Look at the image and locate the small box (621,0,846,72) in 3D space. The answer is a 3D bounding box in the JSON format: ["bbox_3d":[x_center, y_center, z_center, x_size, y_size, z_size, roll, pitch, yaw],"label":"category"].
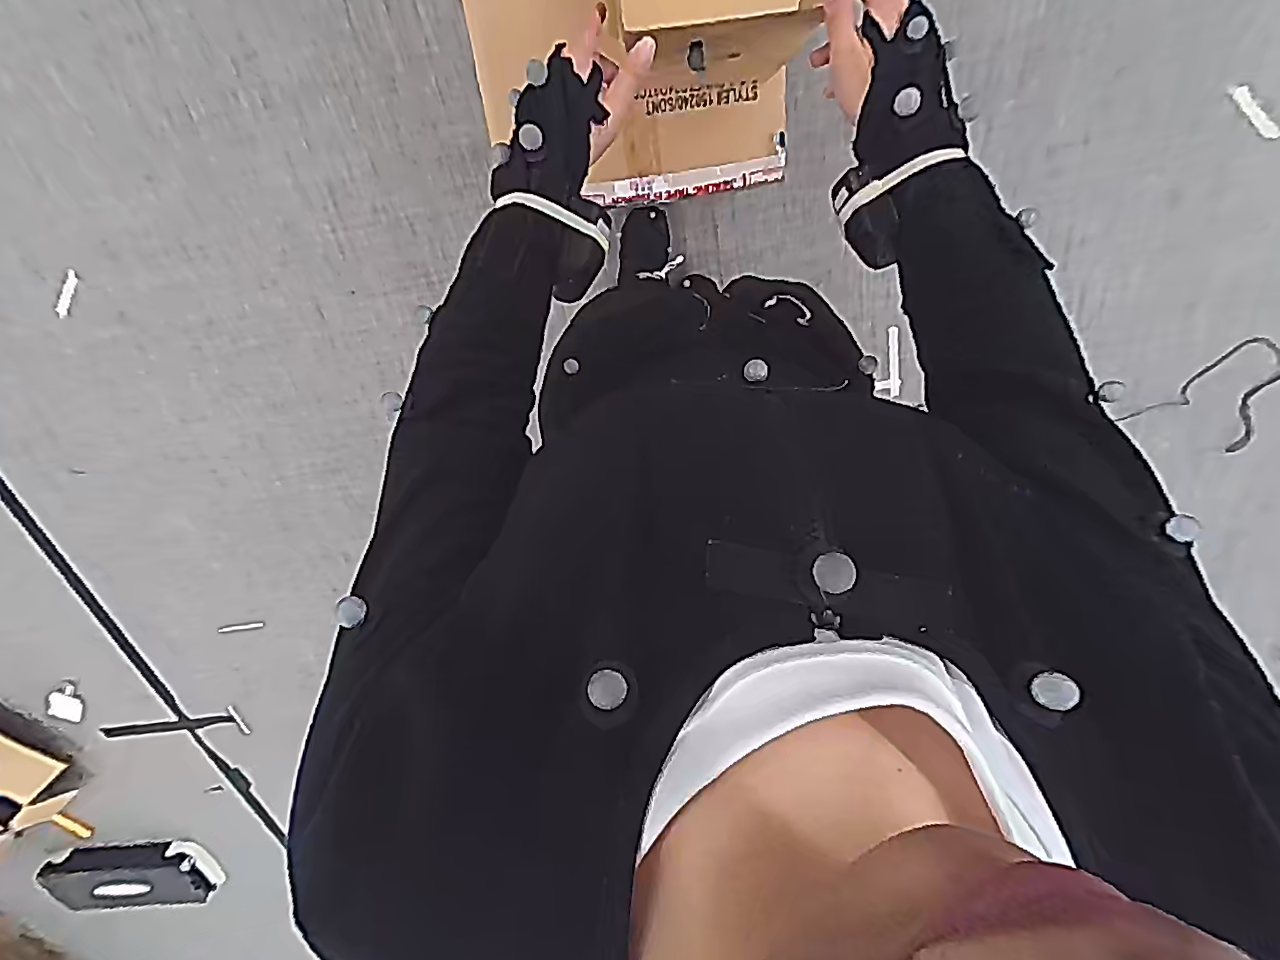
[{"bbox_3d":[0.062,-0.447,0.427,0.168,0.176,0.179,-6,117,3],"label":"small box"}]

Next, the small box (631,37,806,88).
[{"bbox_3d":[0.072,-0.529,0.567,0.179,0.176,0.168,-4,118,1],"label":"small box"}]
